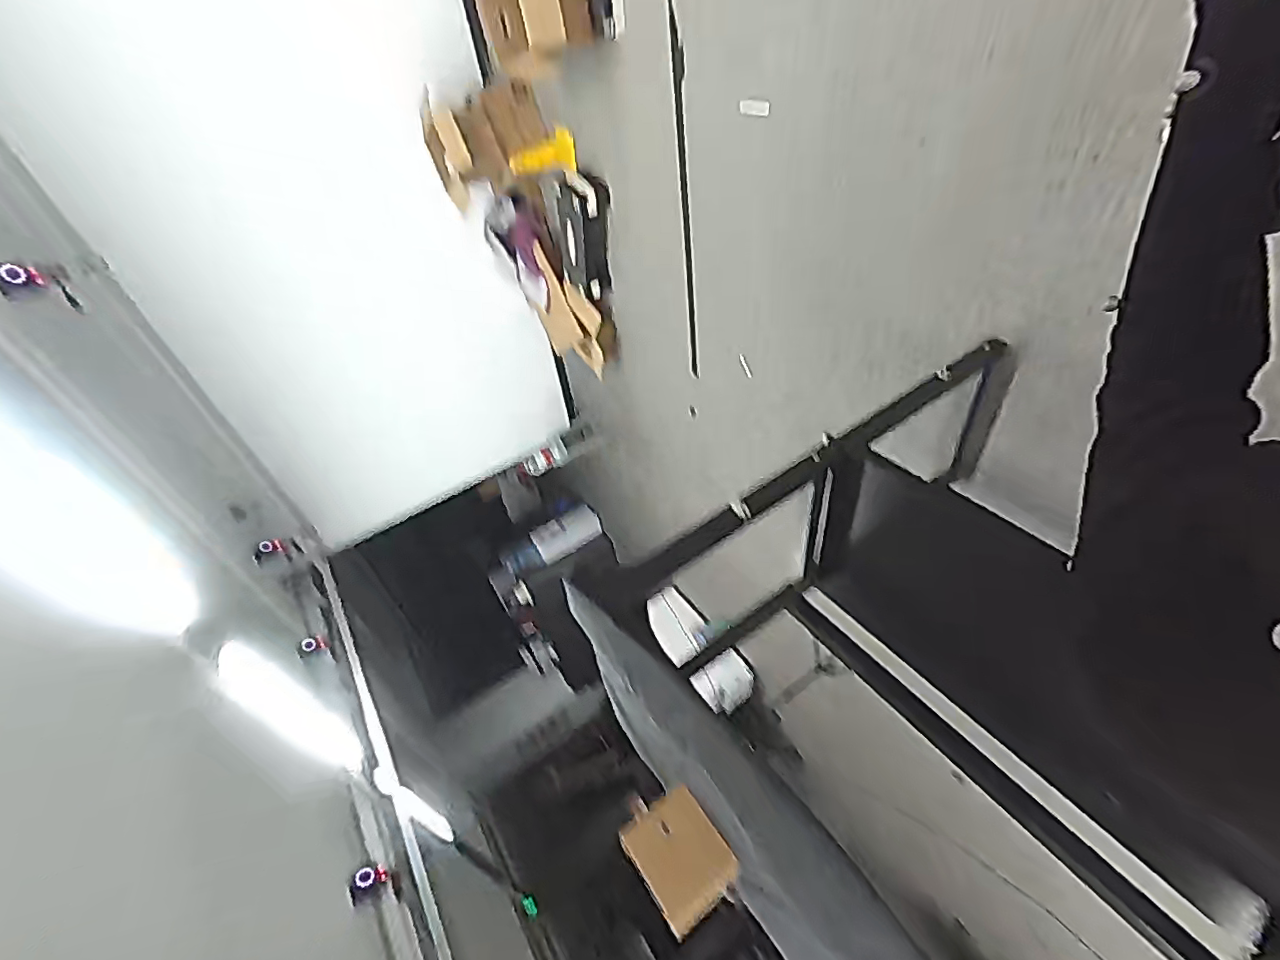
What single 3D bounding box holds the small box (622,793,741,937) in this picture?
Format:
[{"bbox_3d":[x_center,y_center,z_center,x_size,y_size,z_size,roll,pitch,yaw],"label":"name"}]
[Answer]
[{"bbox_3d":[0.085,0.778,1.108,0.179,0.176,0.168,44,155,39],"label":"small box"}]
